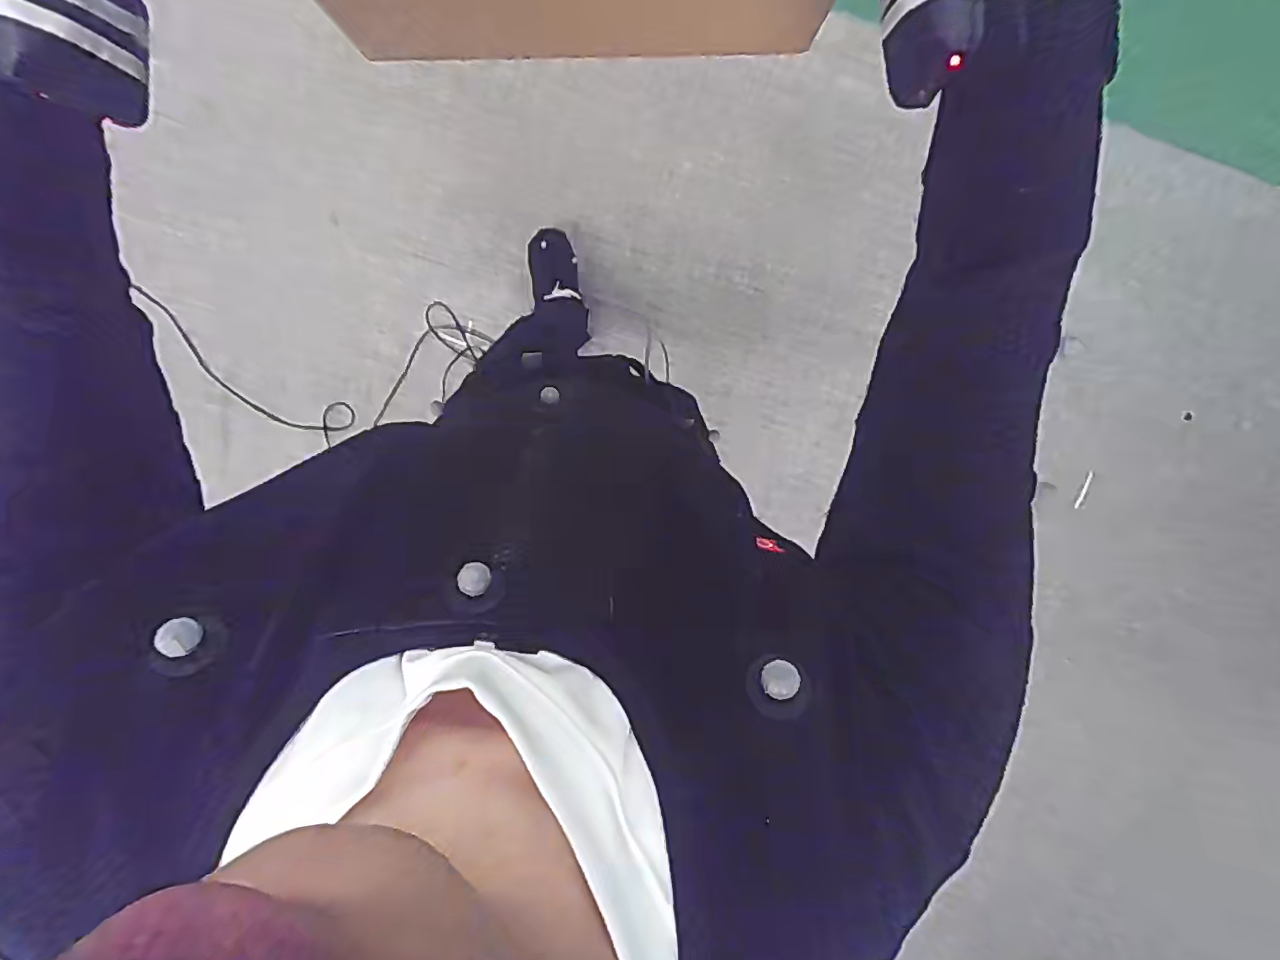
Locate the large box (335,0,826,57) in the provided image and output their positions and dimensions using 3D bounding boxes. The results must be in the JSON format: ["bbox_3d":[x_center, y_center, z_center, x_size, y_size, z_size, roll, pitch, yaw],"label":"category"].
[{"bbox_3d":[-0.046,-0.509,0.320,0.408,0.320,0.320,-2,103,-1],"label":"large box"}]
